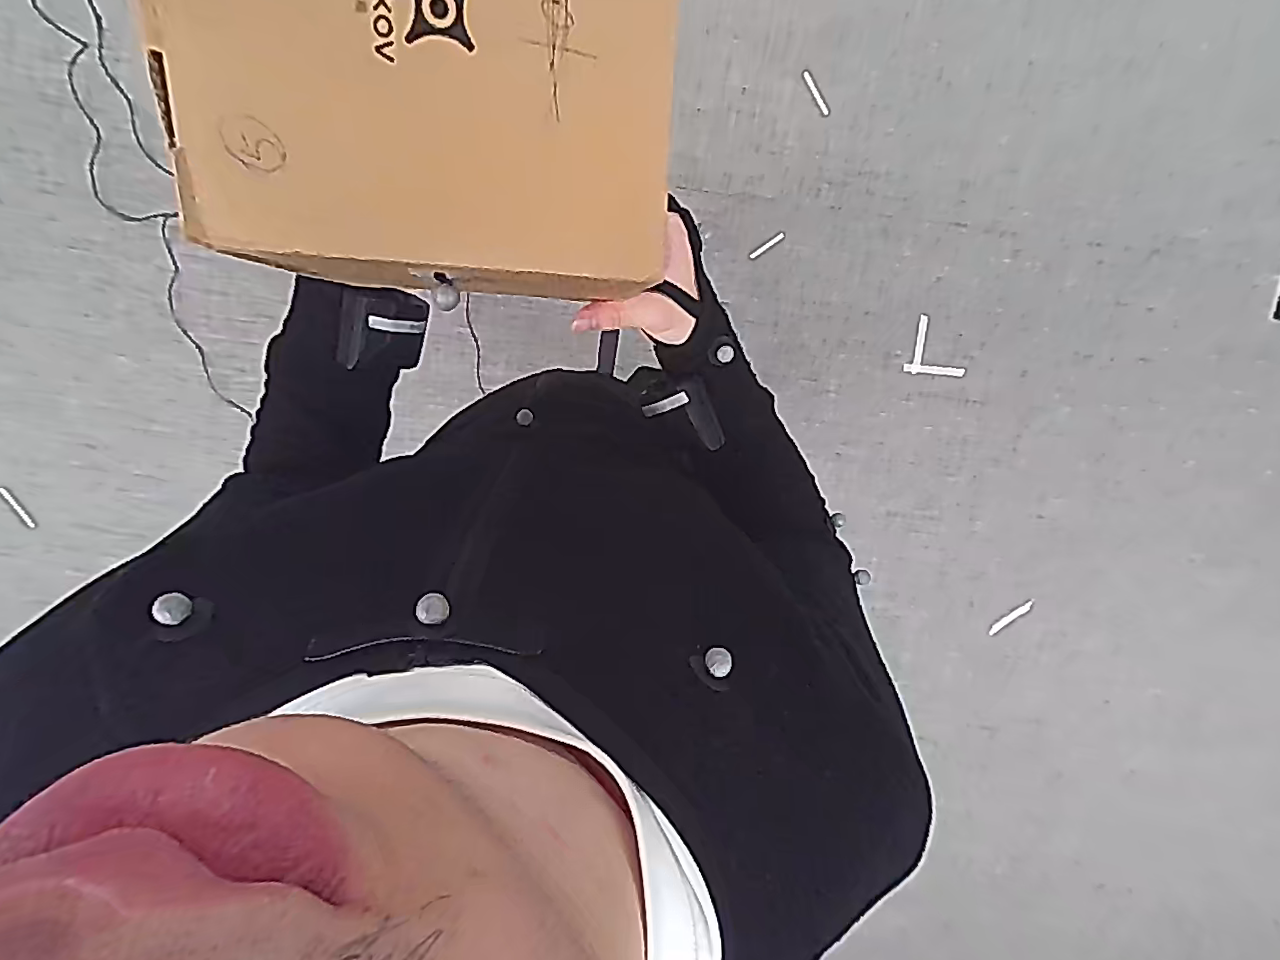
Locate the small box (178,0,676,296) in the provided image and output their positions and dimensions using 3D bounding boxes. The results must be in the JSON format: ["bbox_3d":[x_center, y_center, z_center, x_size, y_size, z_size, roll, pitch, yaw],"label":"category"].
[{"bbox_3d":[-0.084,-0.187,0.272,0.179,0.176,0.168,1,106,-9],"label":"small box"}]
